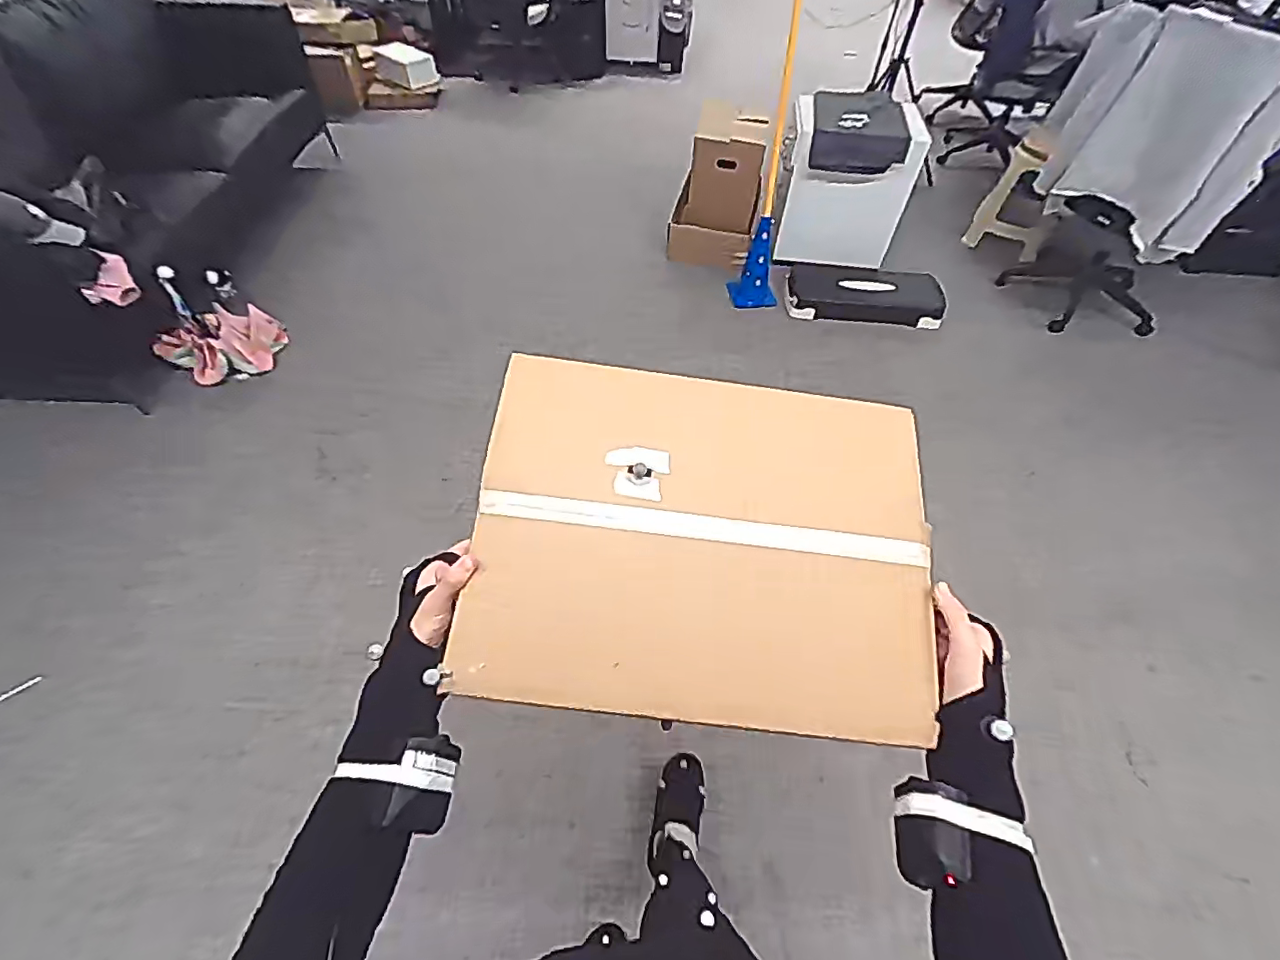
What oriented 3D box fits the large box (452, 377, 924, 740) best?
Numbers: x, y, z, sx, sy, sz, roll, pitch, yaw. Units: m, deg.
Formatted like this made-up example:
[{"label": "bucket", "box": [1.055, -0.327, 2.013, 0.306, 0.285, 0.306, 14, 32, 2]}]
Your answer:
[{"label": "large box", "box": [0.048, 0.108, 0.639, 0.408, 0.320, 0.320, 6, 68, -1]}]
